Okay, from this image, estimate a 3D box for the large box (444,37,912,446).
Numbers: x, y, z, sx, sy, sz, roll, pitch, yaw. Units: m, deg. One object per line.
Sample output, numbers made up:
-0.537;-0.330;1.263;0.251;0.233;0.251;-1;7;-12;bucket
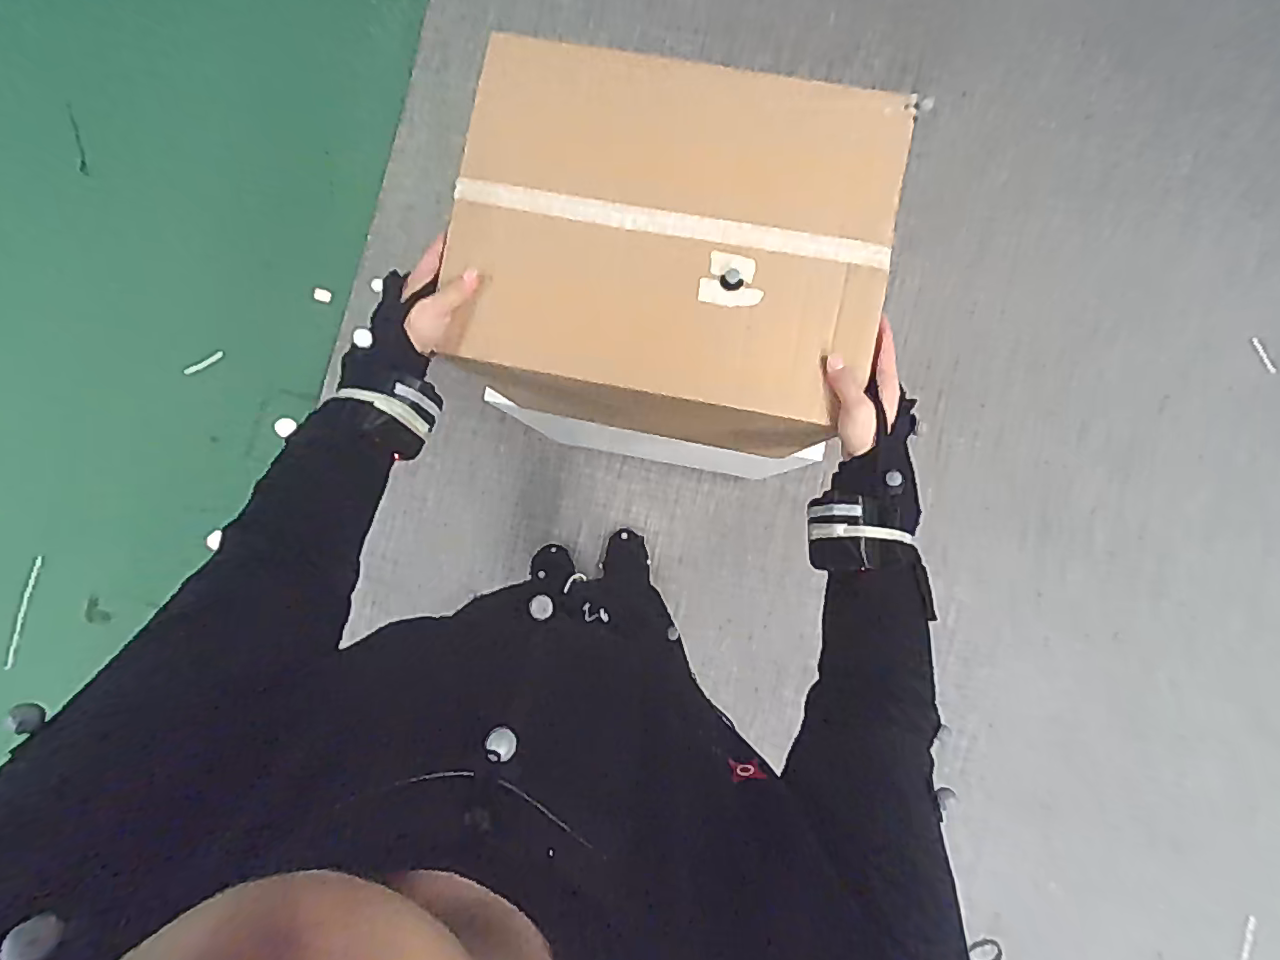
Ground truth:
0.037;-0.237;0.654;0.408;0.320;0.320;11;89;2;large box
